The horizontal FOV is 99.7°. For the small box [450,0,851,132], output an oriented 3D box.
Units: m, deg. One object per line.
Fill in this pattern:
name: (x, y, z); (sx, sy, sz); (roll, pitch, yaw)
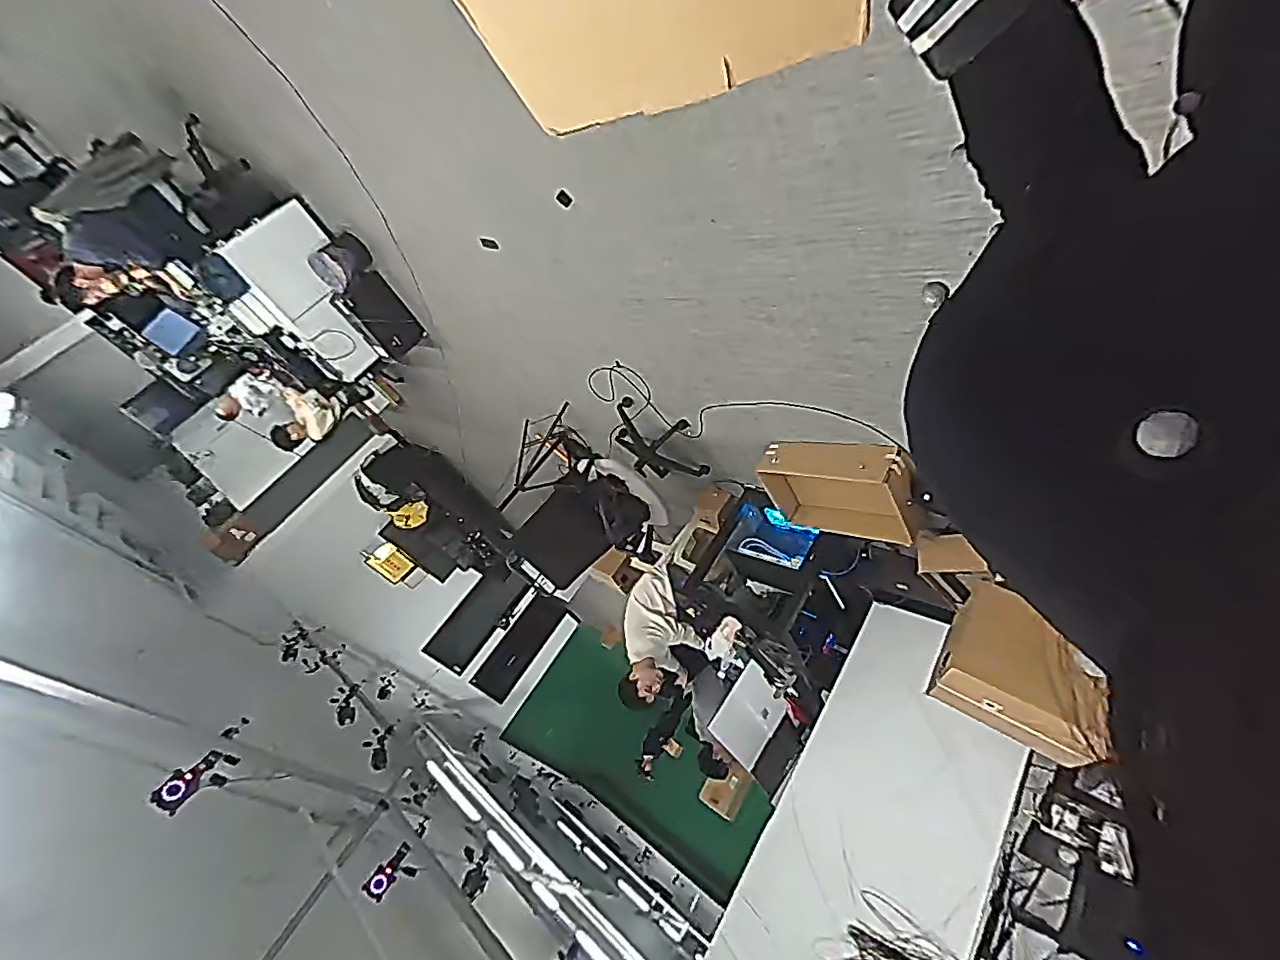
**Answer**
small box: (-0.013, -0.285, 0.199); (0.168, 0.179, 0.176); (1, 168, 24)
